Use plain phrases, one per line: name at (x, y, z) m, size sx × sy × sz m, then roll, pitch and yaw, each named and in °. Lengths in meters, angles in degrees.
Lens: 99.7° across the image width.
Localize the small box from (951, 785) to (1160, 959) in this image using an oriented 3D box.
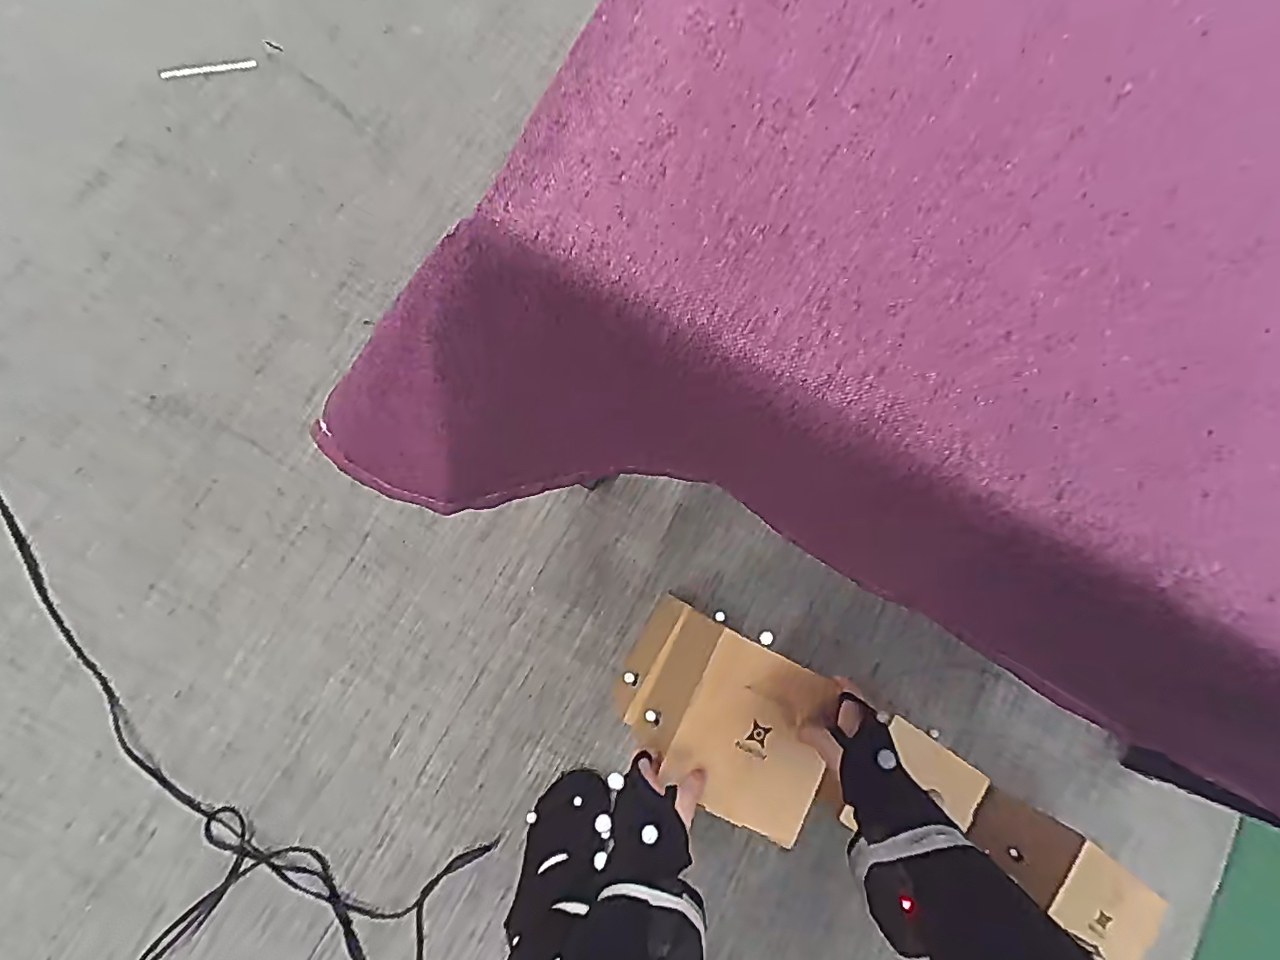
small box at (0.633, 0.632, 0.849) m, size 0.168 × 0.176 × 0.179 m, roll 39°, pitch 80°, yaw -3°
